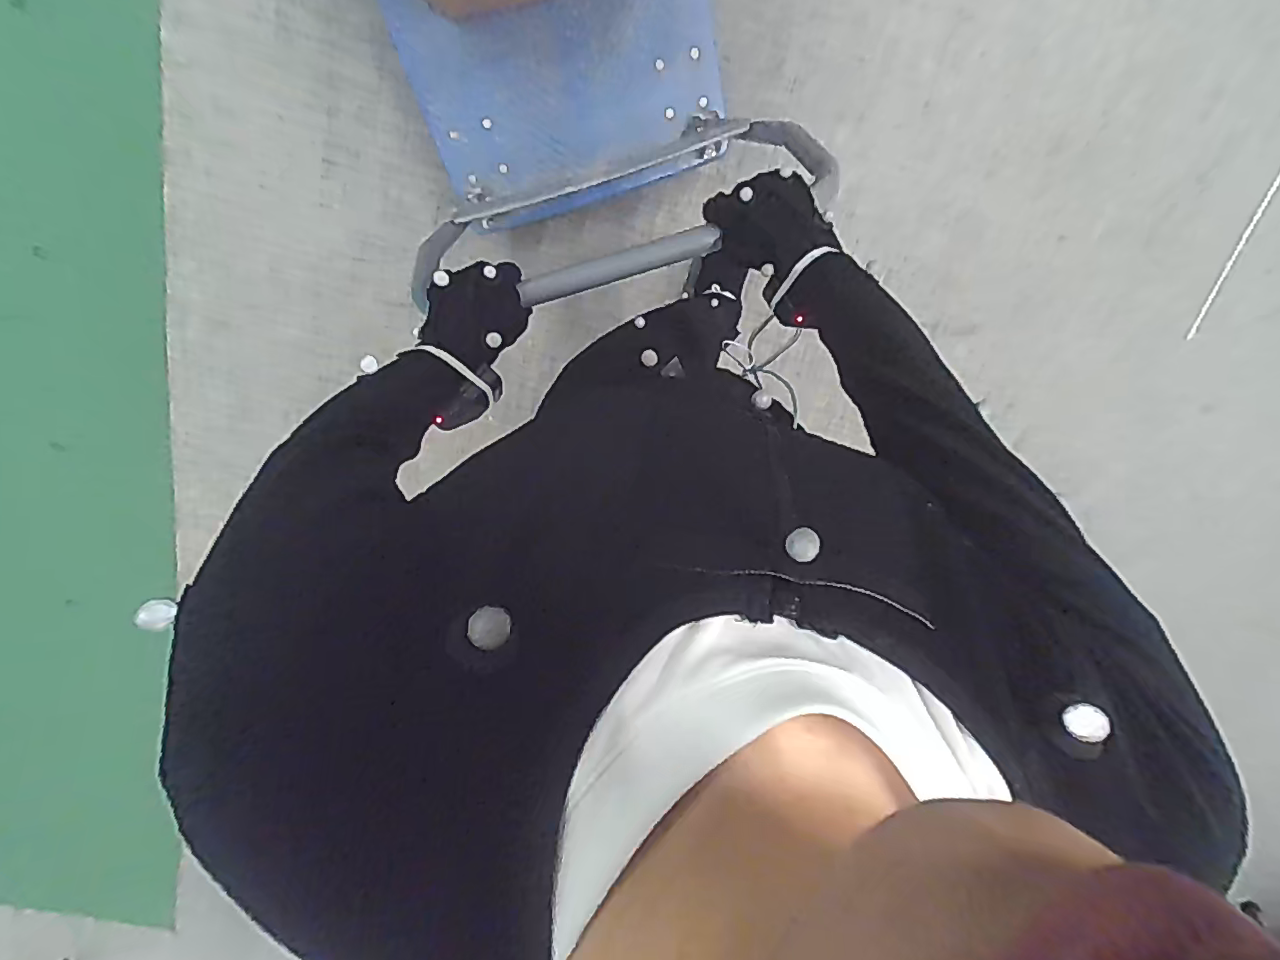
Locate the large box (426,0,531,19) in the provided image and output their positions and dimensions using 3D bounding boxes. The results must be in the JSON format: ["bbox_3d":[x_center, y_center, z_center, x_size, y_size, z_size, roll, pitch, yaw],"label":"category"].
[{"bbox_3d":[-0.167,-0.917,0.766,0.408,0.320,0.320,-12,122,3],"label":"large box"}]
